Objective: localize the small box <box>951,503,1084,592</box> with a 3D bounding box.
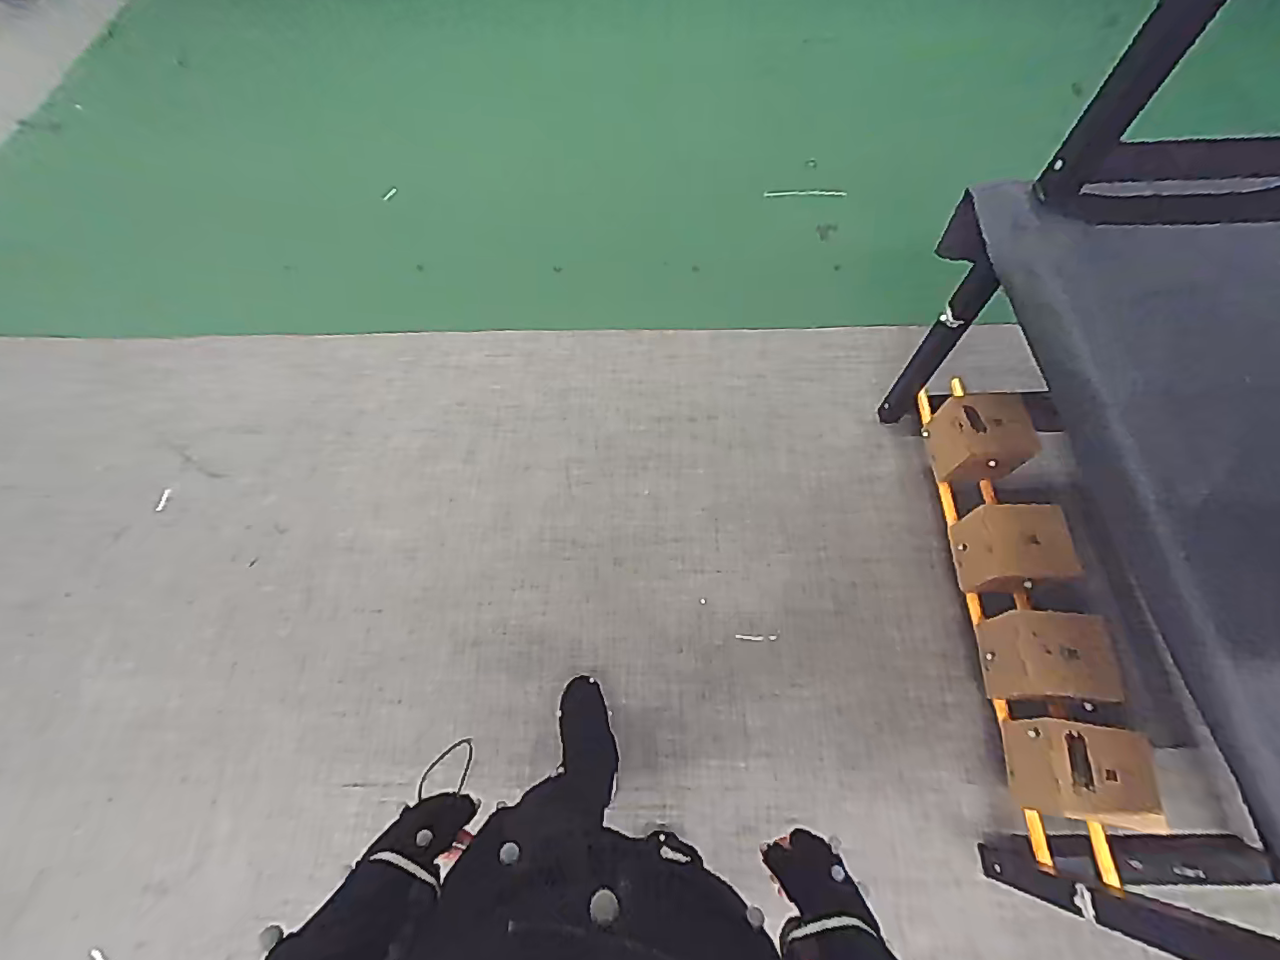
[{"bbox_3d":[0.859,0.160,1.248,0.179,0.176,0.168,0,65,5],"label":"small box"}]
